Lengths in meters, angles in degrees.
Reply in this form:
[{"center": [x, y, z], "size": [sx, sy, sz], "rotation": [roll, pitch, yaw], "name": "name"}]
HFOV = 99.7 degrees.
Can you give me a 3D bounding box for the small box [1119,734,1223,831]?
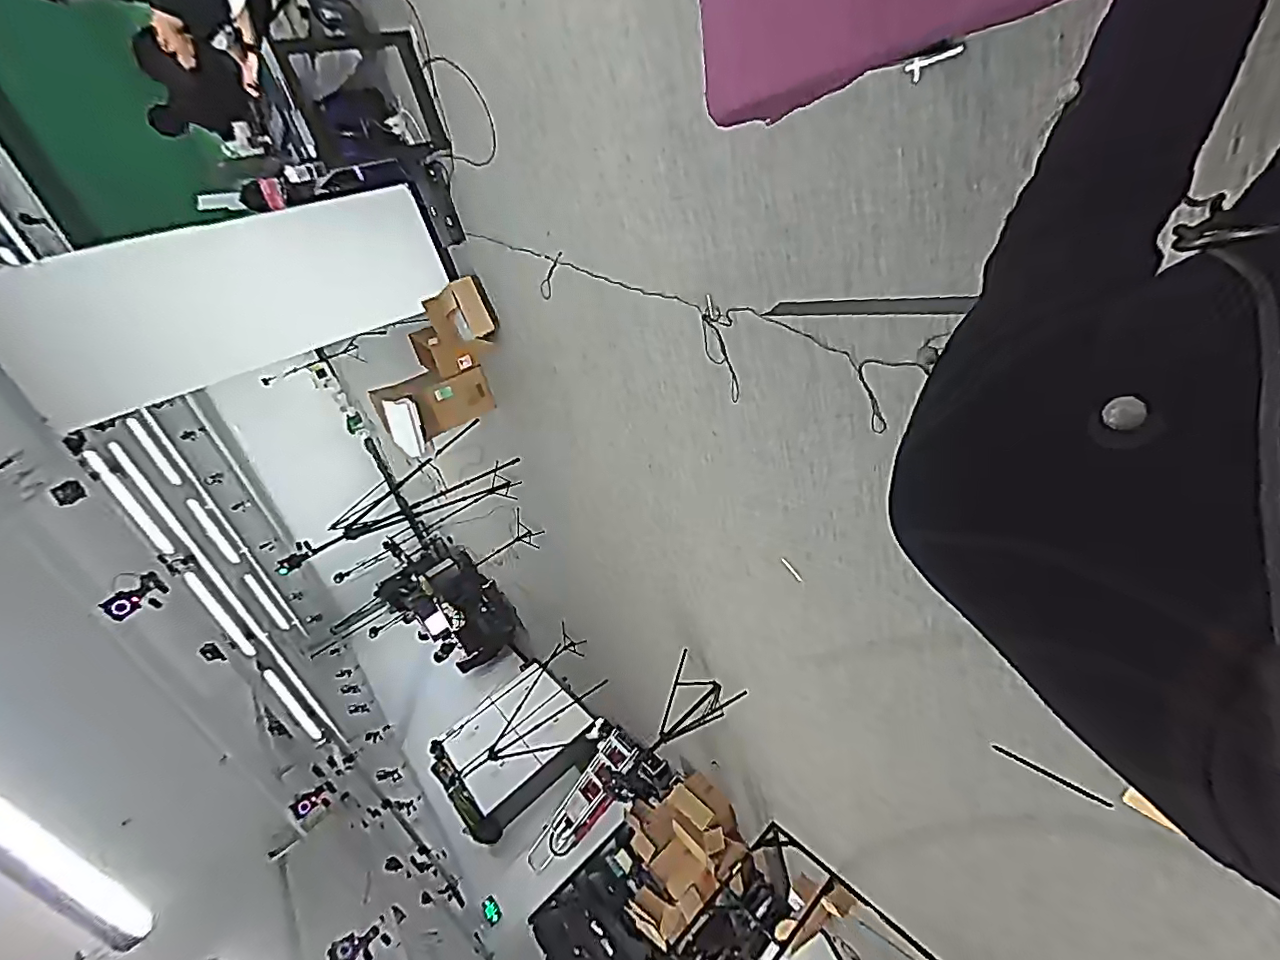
[{"center": [1.641, 0.924, 1.673], "size": [0.179, 0.176, 0.168], "rotation": [25, 138, 43], "name": "small box"}]
